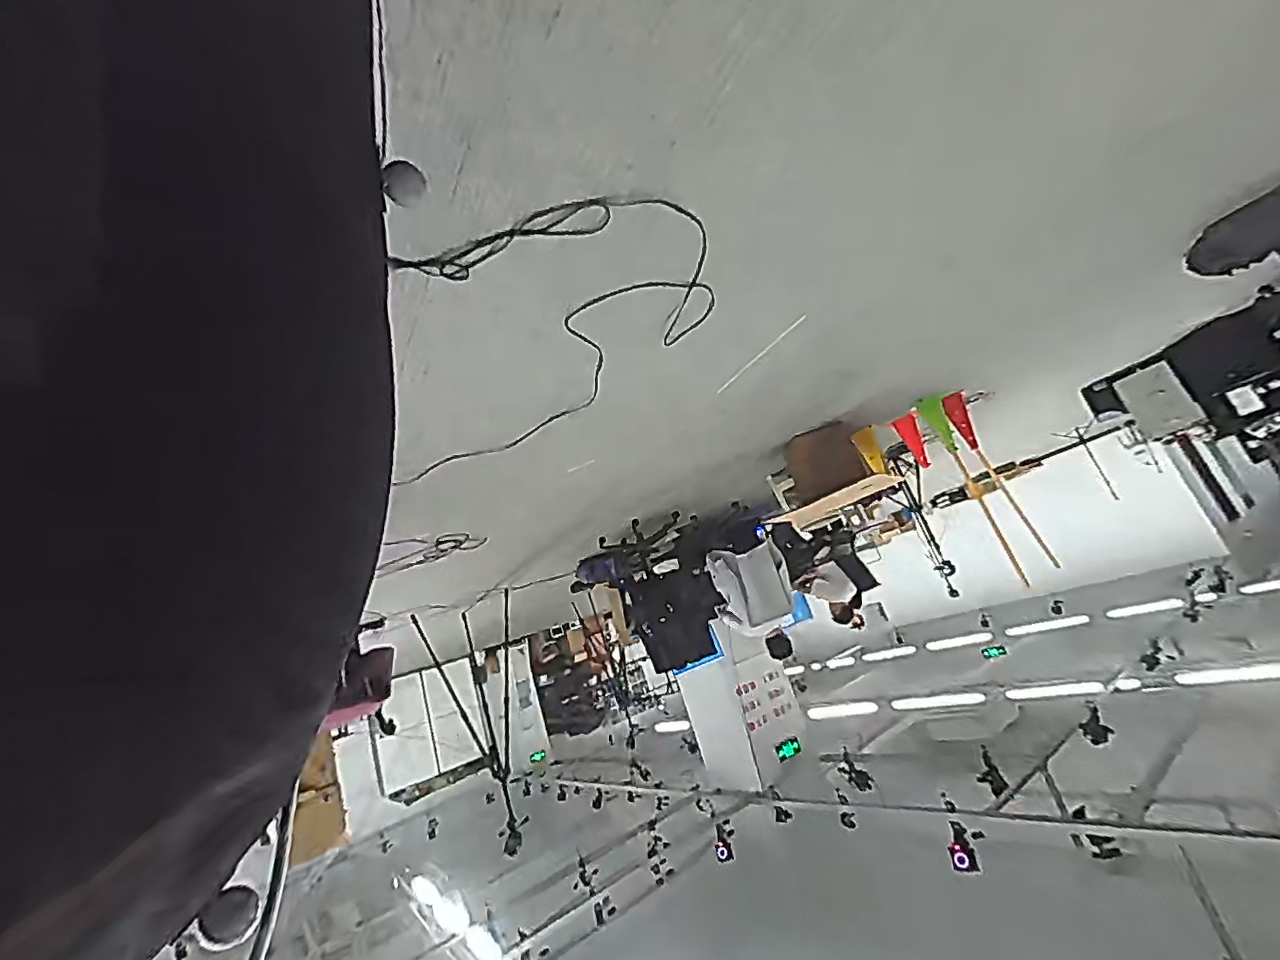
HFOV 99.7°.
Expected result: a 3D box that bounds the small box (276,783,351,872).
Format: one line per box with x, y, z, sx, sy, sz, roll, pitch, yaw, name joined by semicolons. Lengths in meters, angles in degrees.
-0.965;1.010;1.589;0.168;0.176;0.179;-4;159;-37;small box
